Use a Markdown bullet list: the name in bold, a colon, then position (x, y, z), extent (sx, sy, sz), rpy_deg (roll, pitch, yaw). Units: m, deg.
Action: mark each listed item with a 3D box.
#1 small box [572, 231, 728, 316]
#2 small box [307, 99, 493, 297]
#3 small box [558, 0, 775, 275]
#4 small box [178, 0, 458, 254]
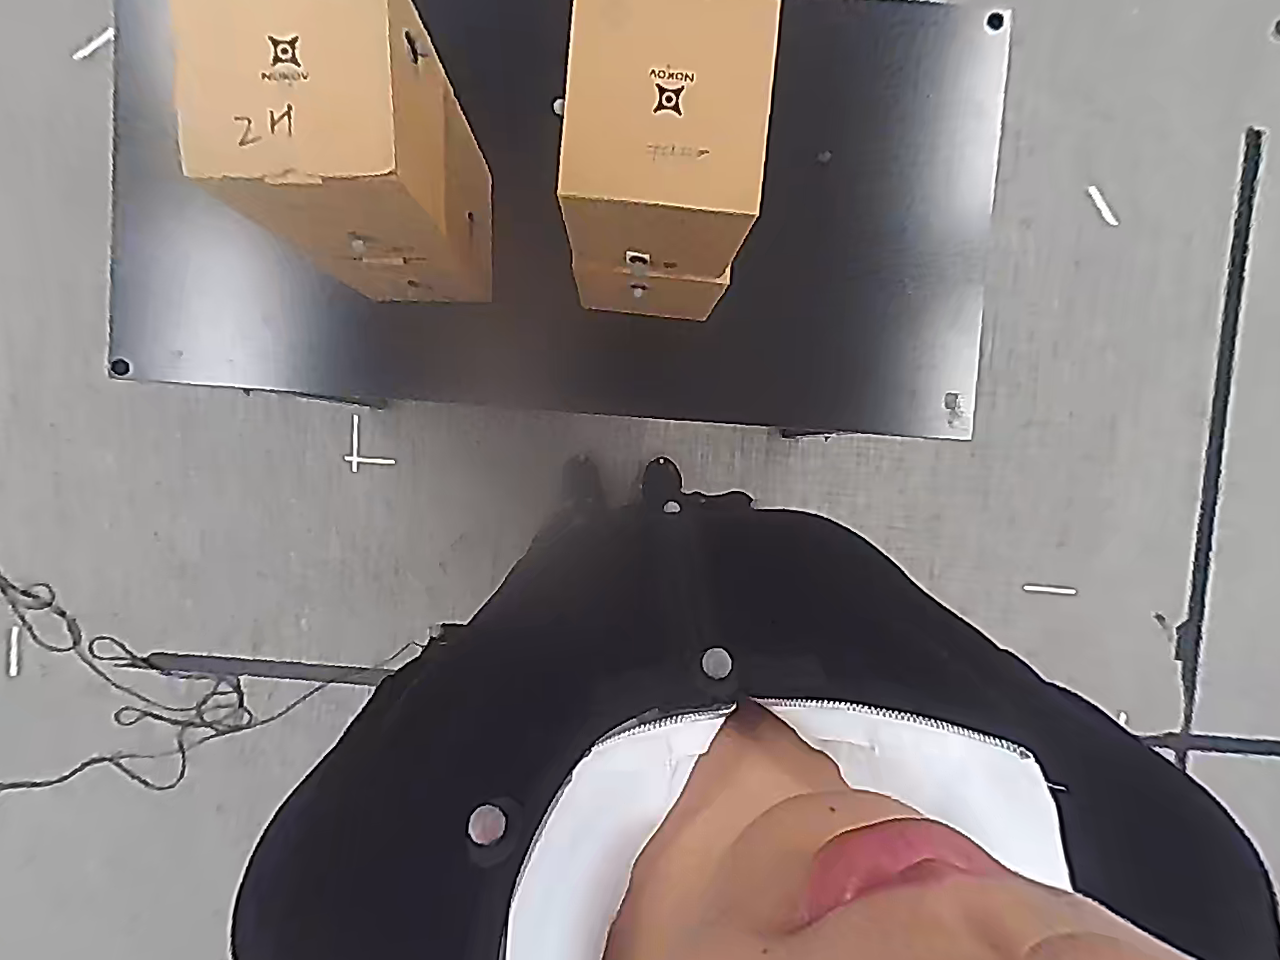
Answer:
- **small box**: position (0.016, -0.314, 0.678), extent (0.179, 0.176, 0.168), rpy_deg (5, 92, -3)
- **small box**: position (-0.283, -0.333, 0.667), extent (0.168, 0.176, 0.179), rpy_deg (0, 93, -1)
- **small box**: position (0.019, -0.316, 0.515), extent (0.168, 0.176, 0.179), rpy_deg (5, 93, -1)
- **small box**: position (-0.276, -0.329, 0.502), extent (0.168, 0.176, 0.179), rpy_deg (-2, 93, -1)
